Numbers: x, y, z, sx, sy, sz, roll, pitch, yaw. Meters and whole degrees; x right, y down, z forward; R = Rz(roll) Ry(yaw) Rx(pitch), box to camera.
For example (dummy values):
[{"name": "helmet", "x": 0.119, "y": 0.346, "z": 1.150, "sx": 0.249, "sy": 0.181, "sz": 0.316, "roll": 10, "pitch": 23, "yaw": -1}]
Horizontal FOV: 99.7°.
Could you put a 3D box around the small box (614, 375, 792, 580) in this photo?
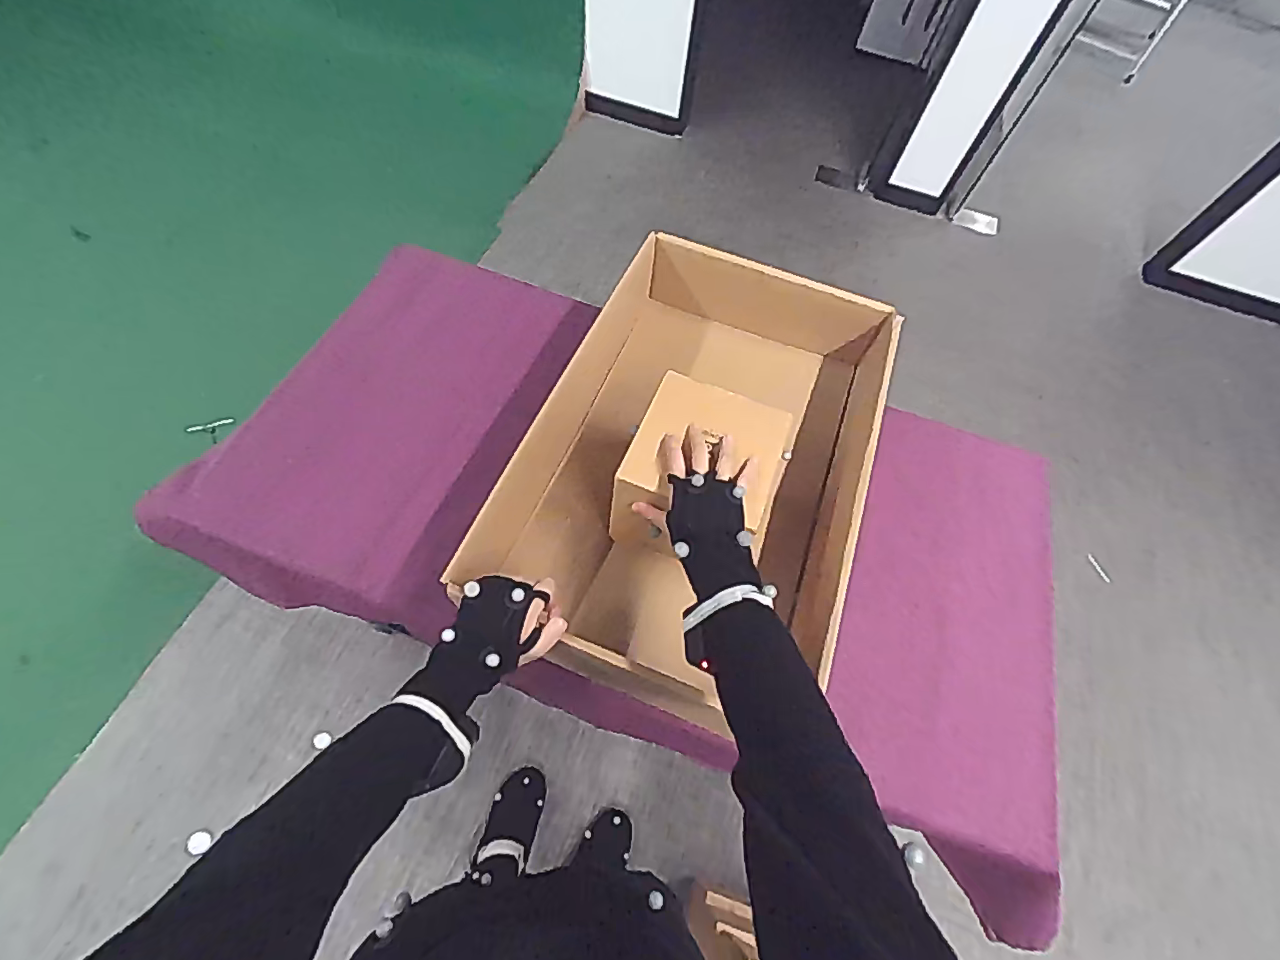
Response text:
[{"name": "small box", "x": 0.073, "y": 0.004, "z": 0.693, "sx": 0.168, "sy": 0.176, "sz": 0.179, "roll": 21, "pitch": 59, "yaw": 7}]

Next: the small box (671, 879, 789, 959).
[{"name": "small box", "x": 0.175, "y": 0.938, "z": 1.087, "sx": 0.179, "sy": 0.176, "sz": 0.168, "roll": 19, "pitch": 62, "yaw": 6}]
